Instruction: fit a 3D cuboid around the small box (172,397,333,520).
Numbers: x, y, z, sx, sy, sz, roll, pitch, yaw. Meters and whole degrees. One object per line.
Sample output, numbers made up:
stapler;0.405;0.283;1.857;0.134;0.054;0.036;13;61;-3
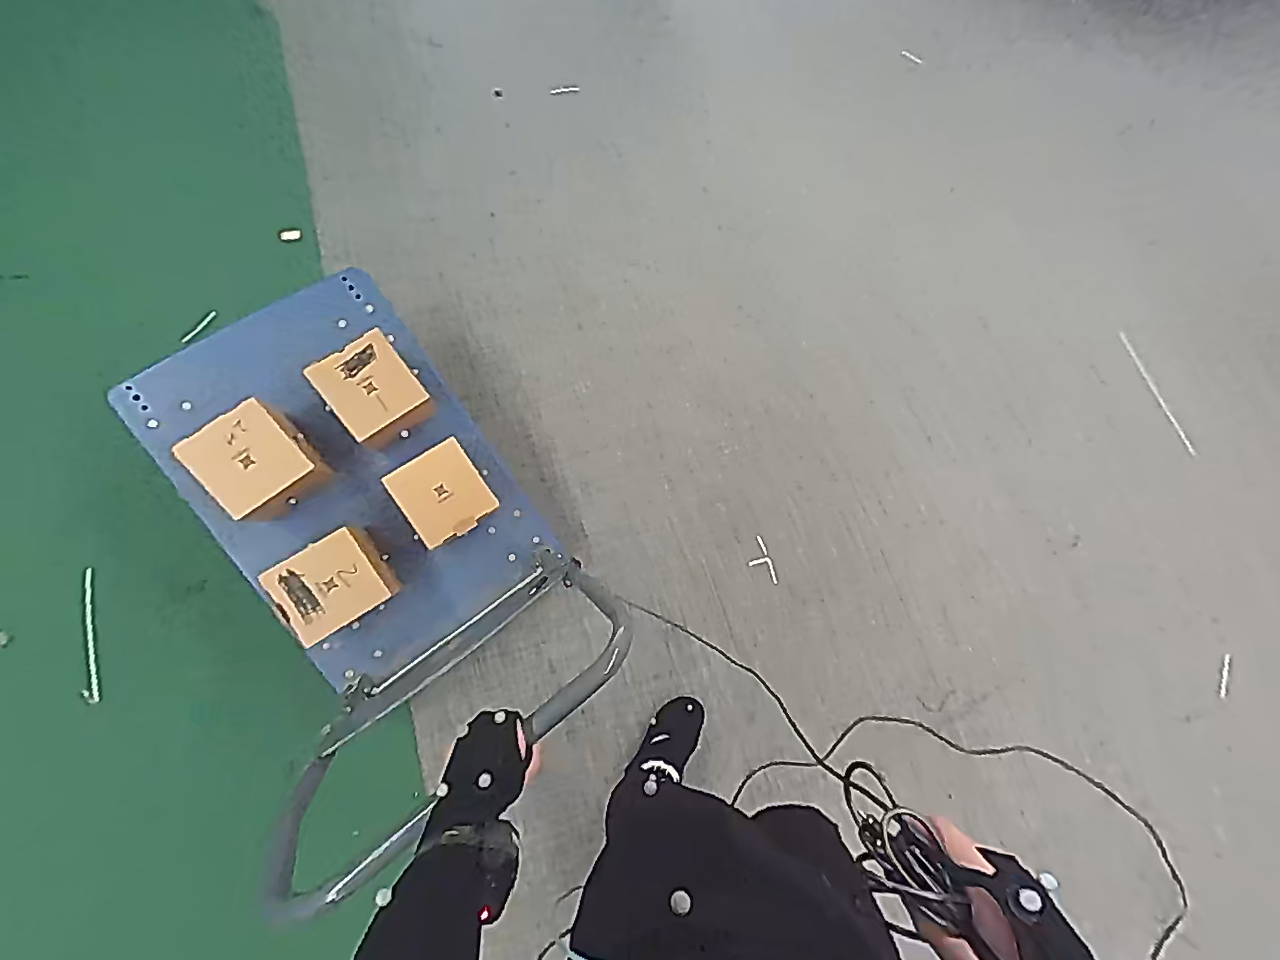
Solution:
small box;-0.756;-0.038;1.082;0.168;0.176;0.179;-39;97;-16

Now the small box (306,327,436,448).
small box;-0.559;-0.187;1.148;0.168;0.176;0.179;-37;97;-15

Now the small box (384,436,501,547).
small box;-0.422;0.029;1.172;0.168;0.176;0.179;-35;96;-15
